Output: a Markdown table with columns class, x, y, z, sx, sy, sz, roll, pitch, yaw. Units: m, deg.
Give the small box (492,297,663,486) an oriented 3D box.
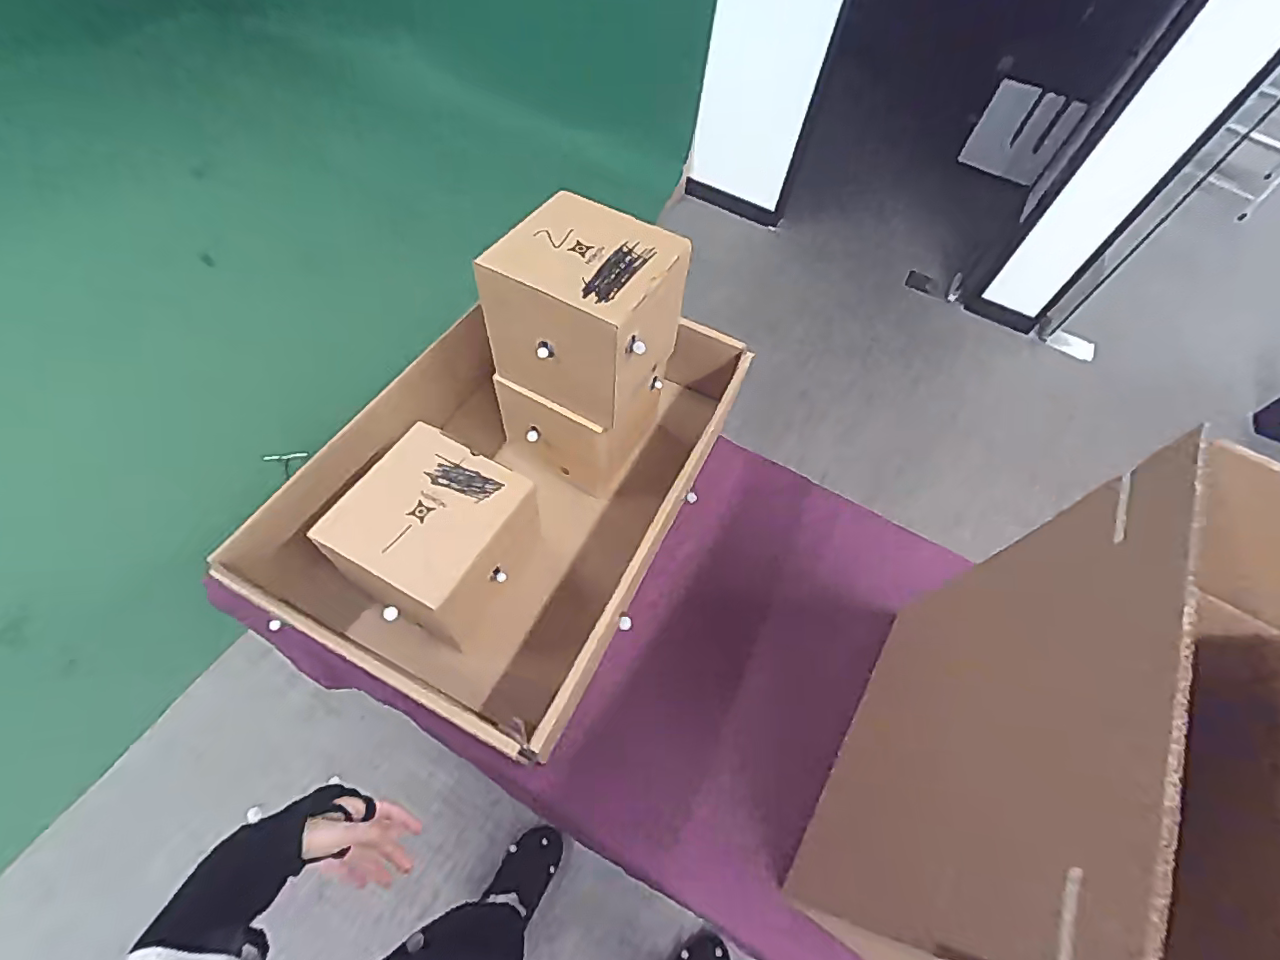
| class | x | y | z | sx | sy | sz | roll | pitch | yaw |
| --- | --- | --- | --- | --- | --- | --- | --- | --- | --- |
| small box | -0.084 | -0.122 | 0.783 | 0.168 | 0.176 | 0.179 | 28 | 60 | 12 |
